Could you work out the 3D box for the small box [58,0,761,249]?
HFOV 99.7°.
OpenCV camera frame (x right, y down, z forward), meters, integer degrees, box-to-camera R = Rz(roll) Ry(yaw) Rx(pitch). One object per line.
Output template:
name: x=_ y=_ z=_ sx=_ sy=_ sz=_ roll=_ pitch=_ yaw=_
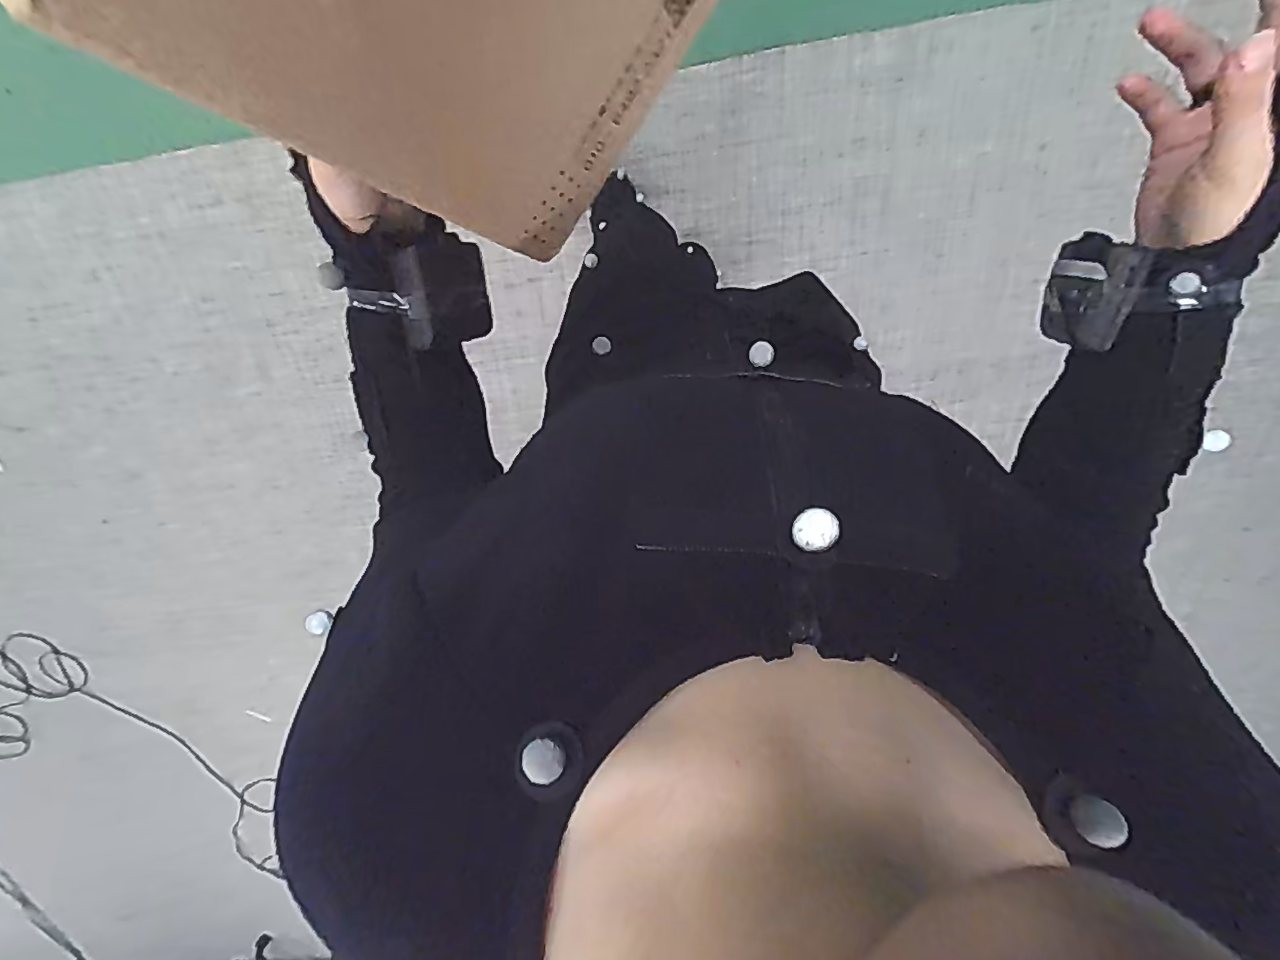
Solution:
small box: x=-0.072 y=-0.201 z=0.162 sx=0.179 sy=0.176 sz=0.168 roll=44 pitch=111 yaw=11
